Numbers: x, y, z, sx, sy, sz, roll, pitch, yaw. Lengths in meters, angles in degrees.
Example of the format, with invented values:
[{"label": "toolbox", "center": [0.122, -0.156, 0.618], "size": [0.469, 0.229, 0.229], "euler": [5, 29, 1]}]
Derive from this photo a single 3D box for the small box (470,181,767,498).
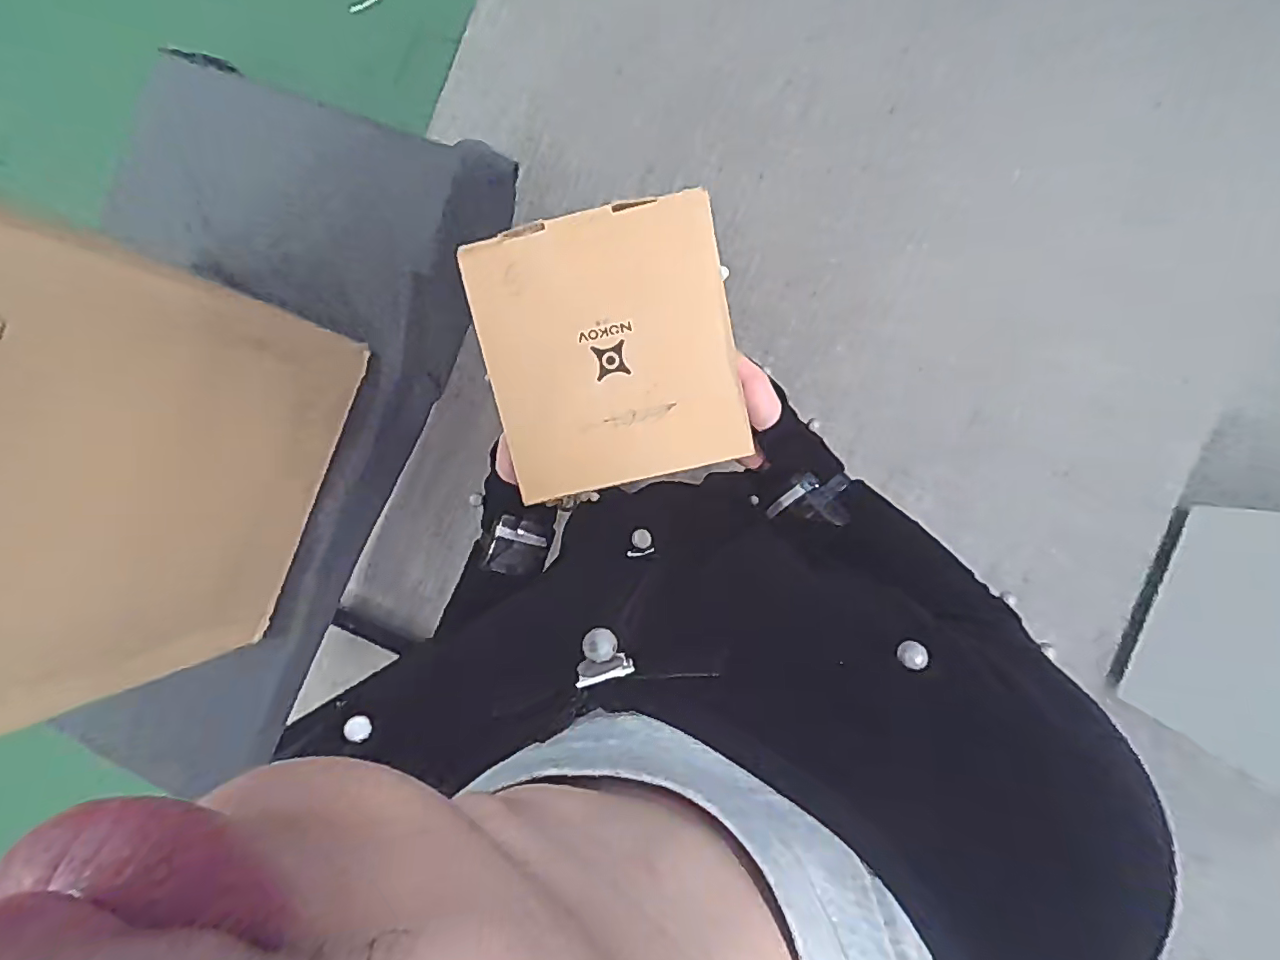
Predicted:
[{"label": "small box", "center": [-0.010, -0.101, 0.432], "size": [0.168, 0.176, 0.179], "euler": [-13, 101, 5]}]
